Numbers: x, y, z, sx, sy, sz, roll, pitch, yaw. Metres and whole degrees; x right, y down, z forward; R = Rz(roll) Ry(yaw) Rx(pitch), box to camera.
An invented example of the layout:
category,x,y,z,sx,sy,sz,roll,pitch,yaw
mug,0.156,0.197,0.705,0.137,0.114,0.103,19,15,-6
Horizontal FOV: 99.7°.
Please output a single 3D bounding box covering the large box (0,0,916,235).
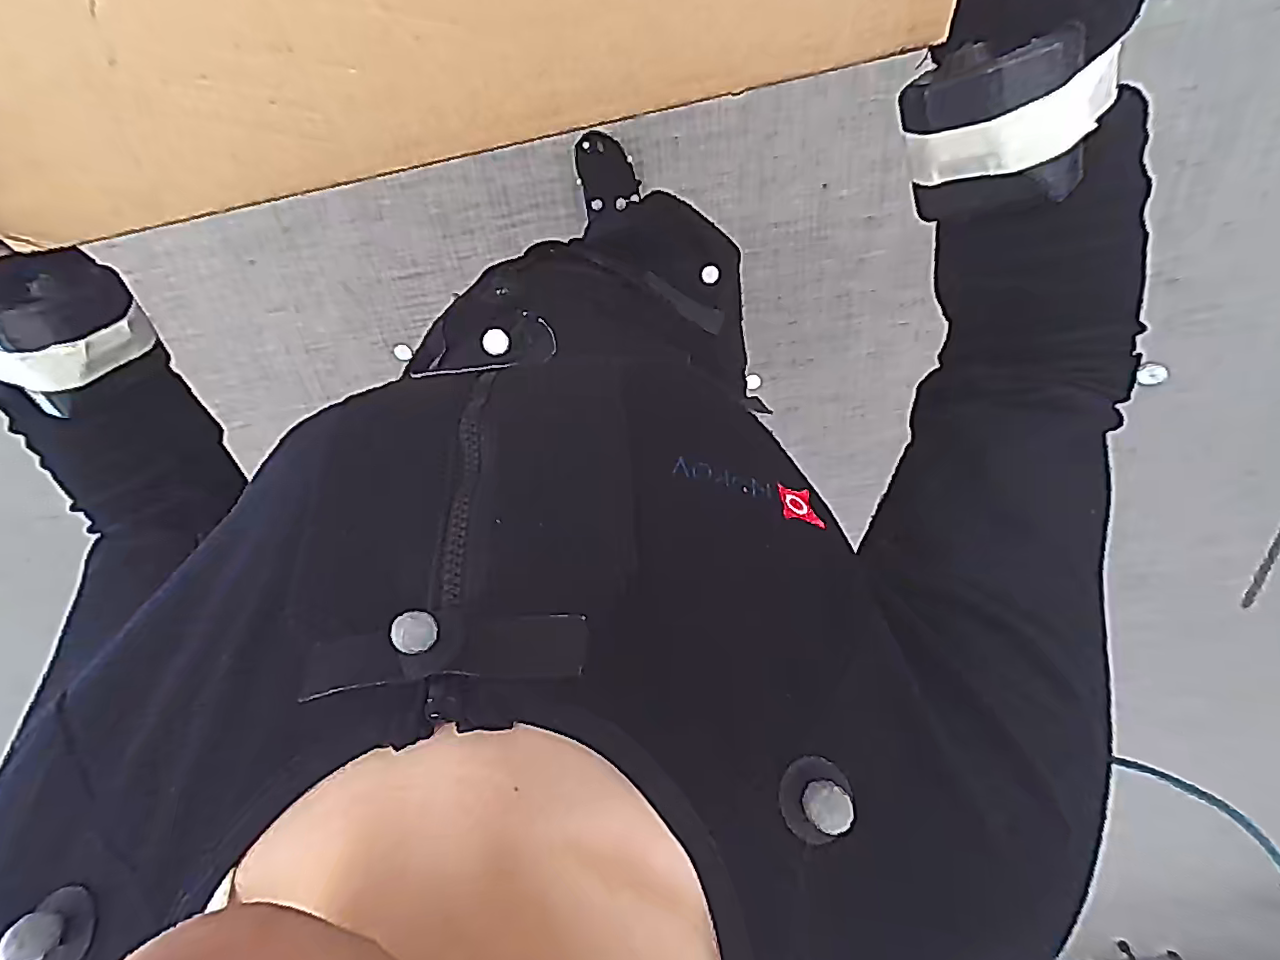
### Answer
category,x,y,z,sx,sy,sz,roll,pitch,yaw
large box,-0.121,-0.356,0.210,0.408,0.320,0.320,-9,139,5
